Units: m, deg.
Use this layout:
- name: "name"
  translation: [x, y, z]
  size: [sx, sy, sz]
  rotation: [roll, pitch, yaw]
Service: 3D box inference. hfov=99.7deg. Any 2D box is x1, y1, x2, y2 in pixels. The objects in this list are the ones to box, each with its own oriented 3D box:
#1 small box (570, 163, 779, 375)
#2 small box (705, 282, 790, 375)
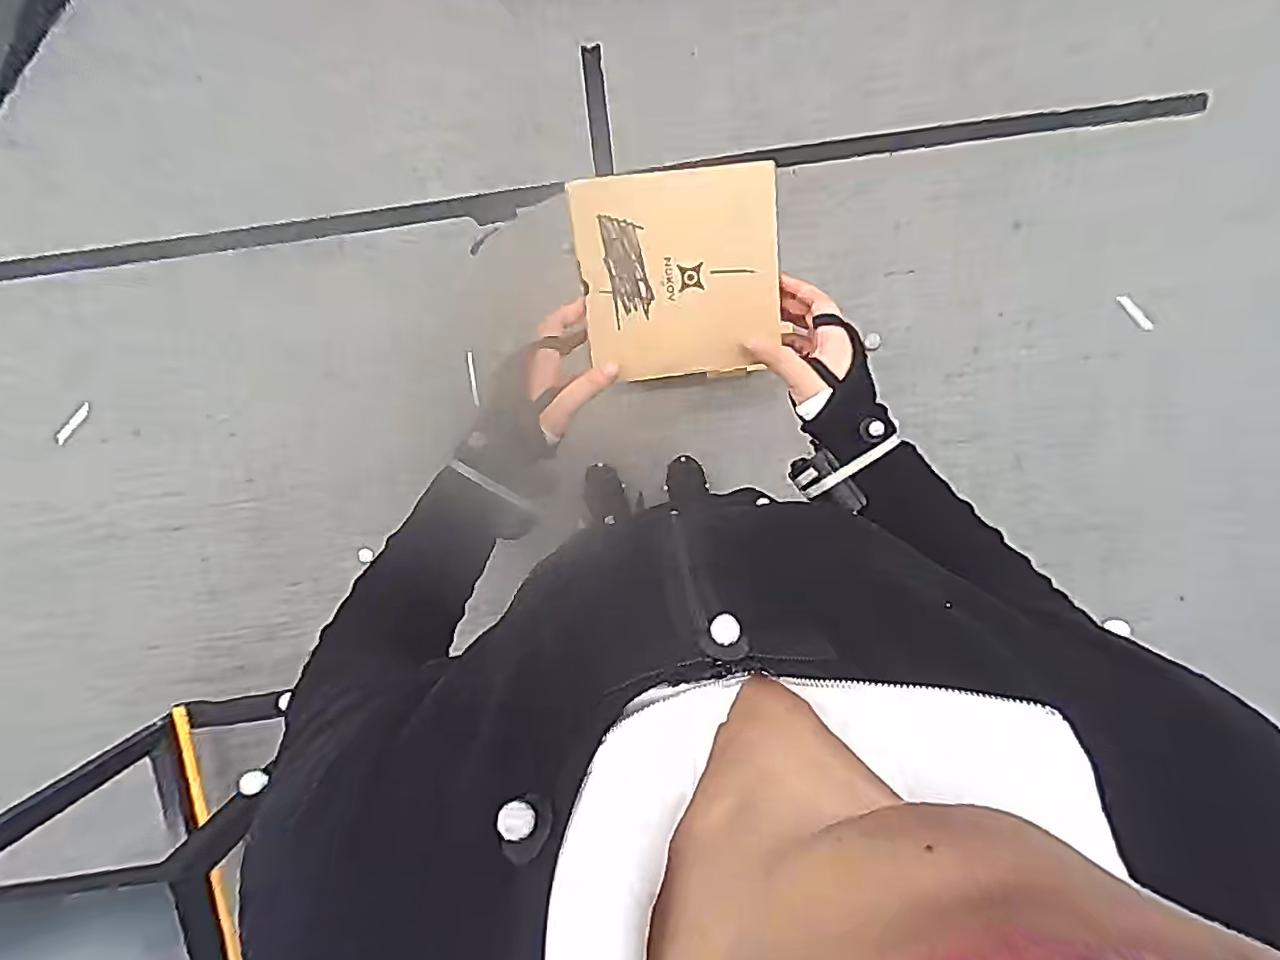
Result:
- name: "small box"
  translation: [0.028, -0.201, 0.545]
  size: [0.179, 0.176, 0.168]
  rotation: [-6, 107, -4]
- name: "small box"
  translation: [0.233, -0.335, 1.230]
  size: [0.168, 0.176, 0.179]
  rotation: [-7, 96, 0]
